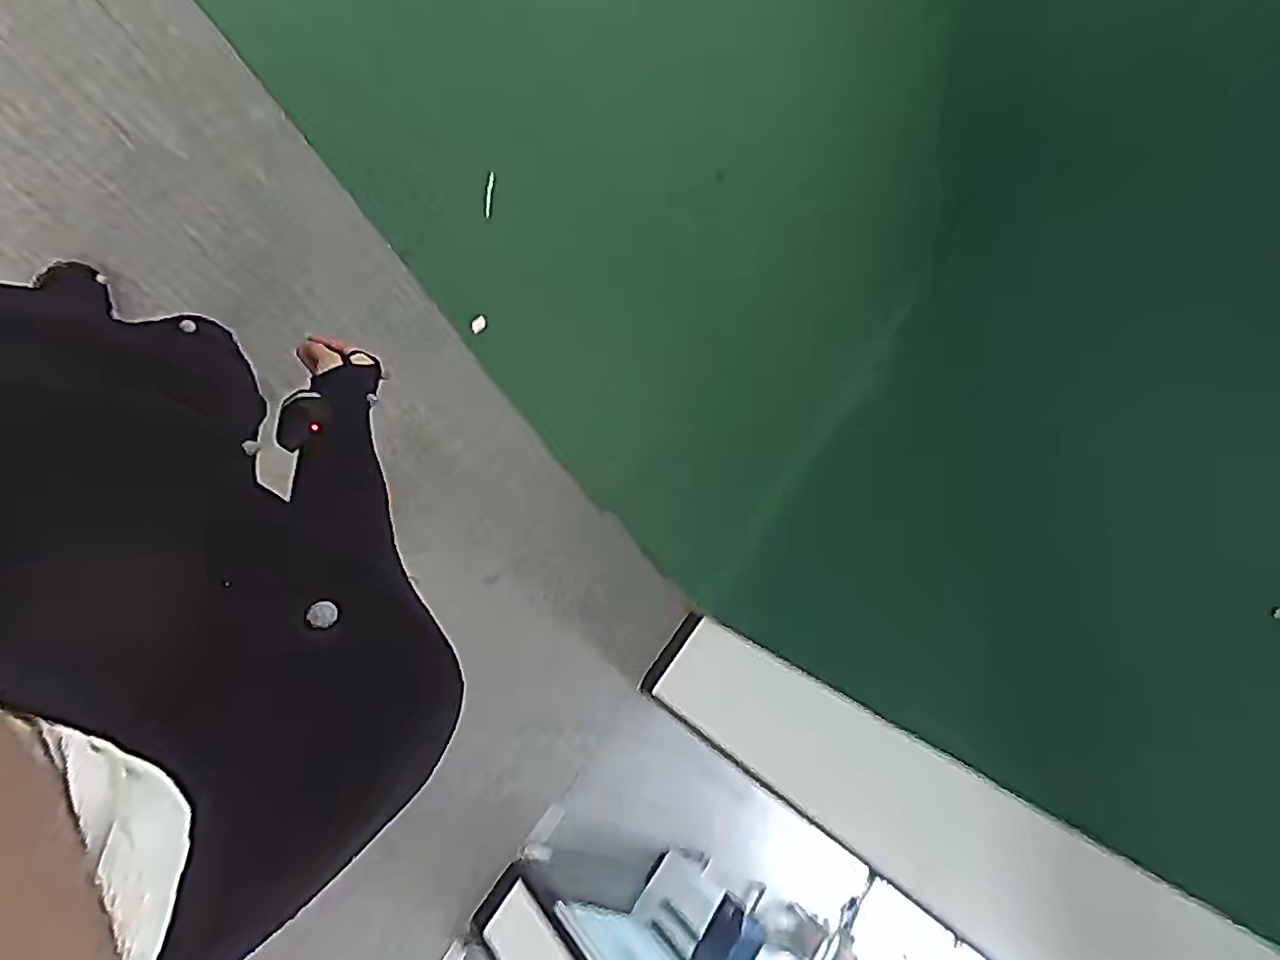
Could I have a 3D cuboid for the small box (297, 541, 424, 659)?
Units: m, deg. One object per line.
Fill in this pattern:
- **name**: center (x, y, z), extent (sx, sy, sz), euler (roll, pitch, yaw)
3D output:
- **small box**: center (-0.640, 0.267, 1.234), extent (0.179, 0.176, 0.168), euler (-51, 133, -18)
